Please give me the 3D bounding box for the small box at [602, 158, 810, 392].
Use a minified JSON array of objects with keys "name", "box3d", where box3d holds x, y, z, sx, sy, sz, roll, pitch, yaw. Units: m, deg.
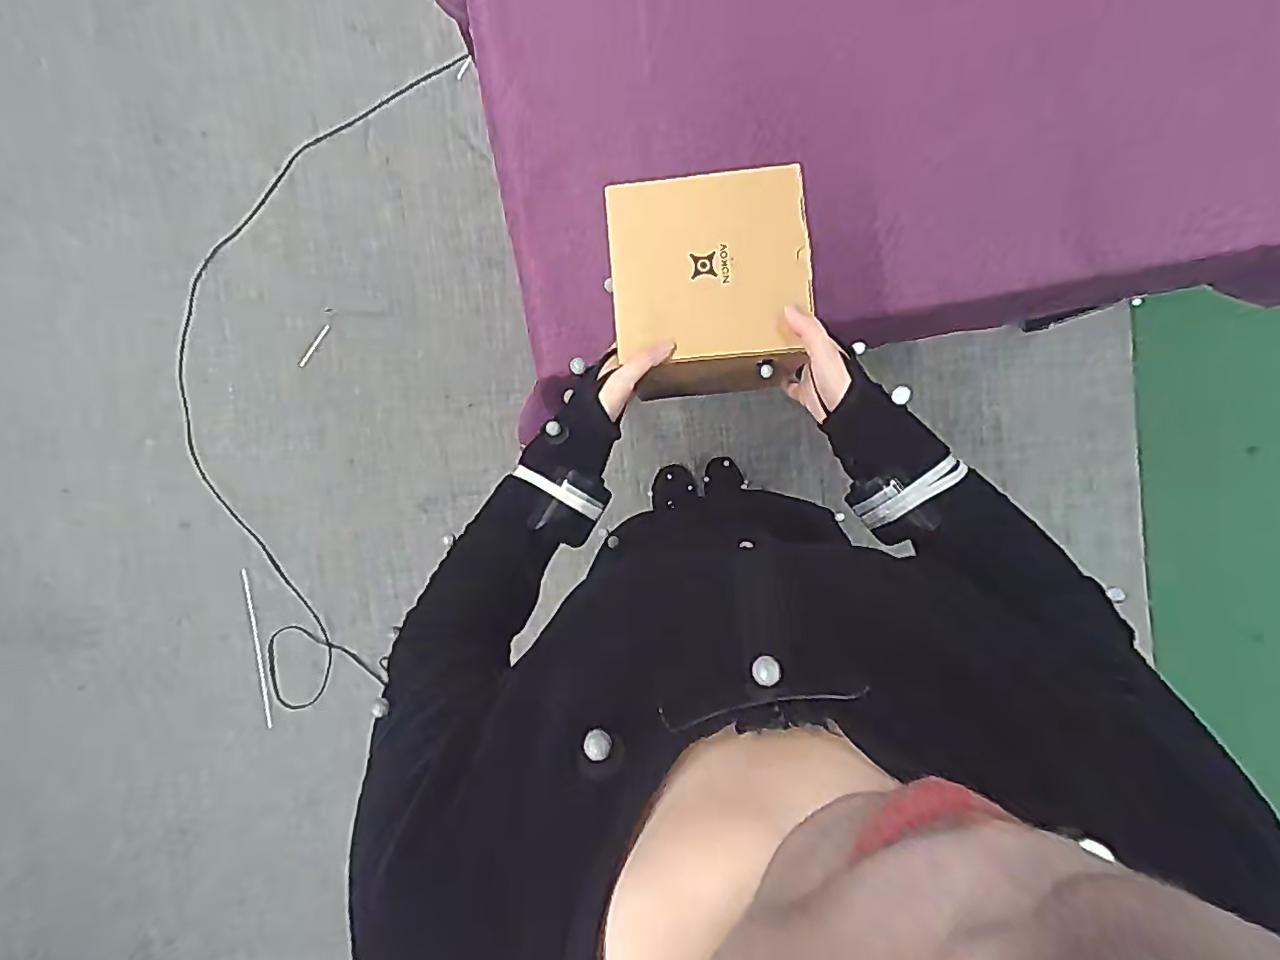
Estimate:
[{"name":"small box","box3d":[0.064,-0.192,0.558,0.179,0.176,0.168,-4,87,5]}]
